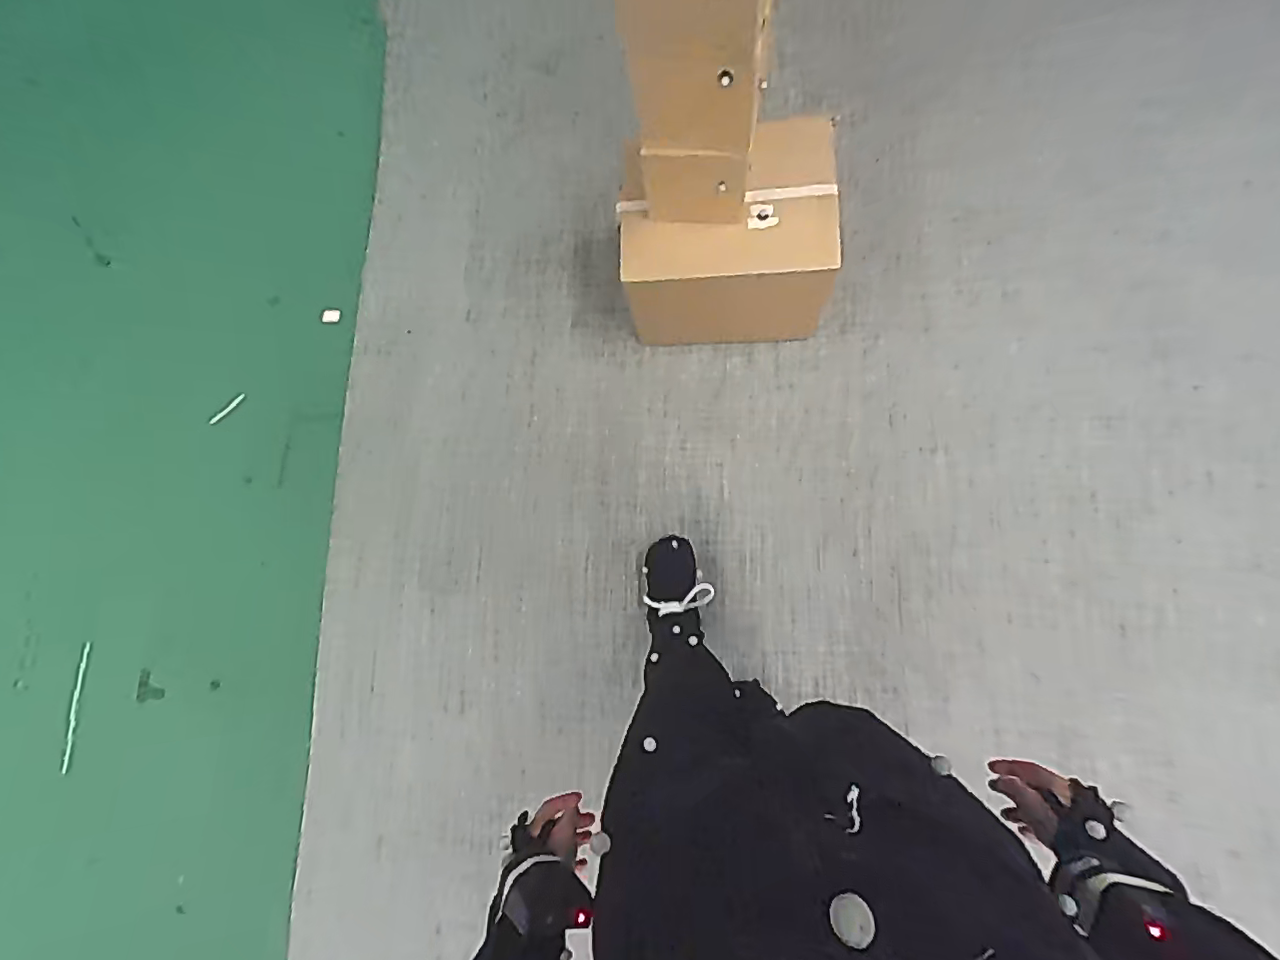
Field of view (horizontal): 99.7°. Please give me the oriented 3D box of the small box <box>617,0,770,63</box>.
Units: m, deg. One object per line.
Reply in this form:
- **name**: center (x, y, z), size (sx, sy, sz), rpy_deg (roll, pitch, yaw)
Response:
- **small box**: center (0.071, -0.623, 0.620), size (0.179, 0.176, 0.168), rpy_deg (10, 81, 9)

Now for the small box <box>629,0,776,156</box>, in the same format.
- **small box**: center (0.093, -0.602, 0.780), size (0.179, 0.176, 0.168), rpy_deg (9, 82, 8)

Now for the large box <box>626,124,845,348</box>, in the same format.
- **large box**: center (0.187, -0.495, 1.165), size (0.408, 0.320, 0.320), rpy_deg (-1, 82, 6)
